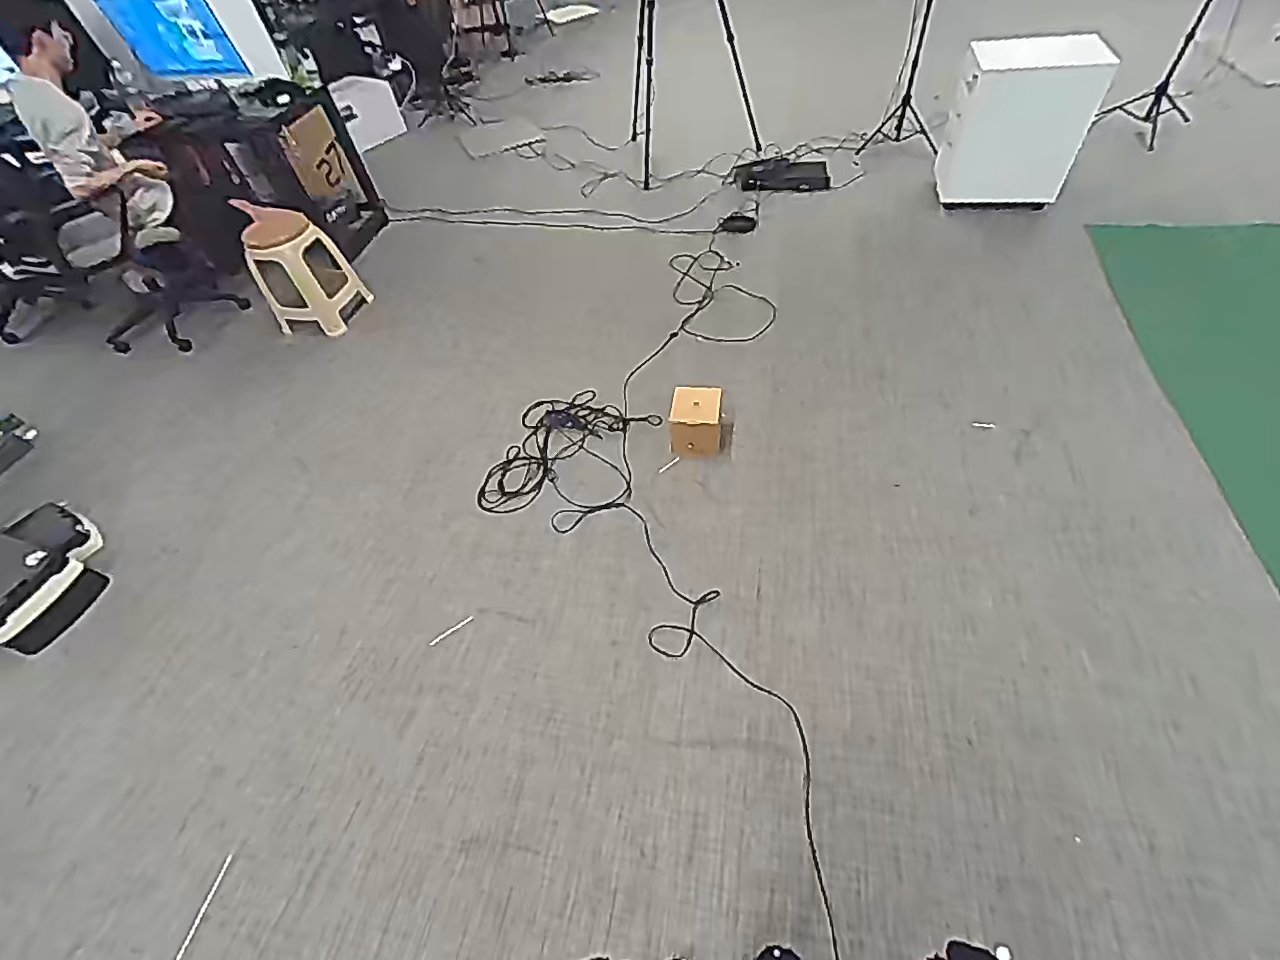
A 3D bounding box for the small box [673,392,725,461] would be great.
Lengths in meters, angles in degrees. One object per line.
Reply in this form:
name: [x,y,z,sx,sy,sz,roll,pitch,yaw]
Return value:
small box: [0.214,-0.191,1.923,0.168,0.176,0.179,4,53,12]
